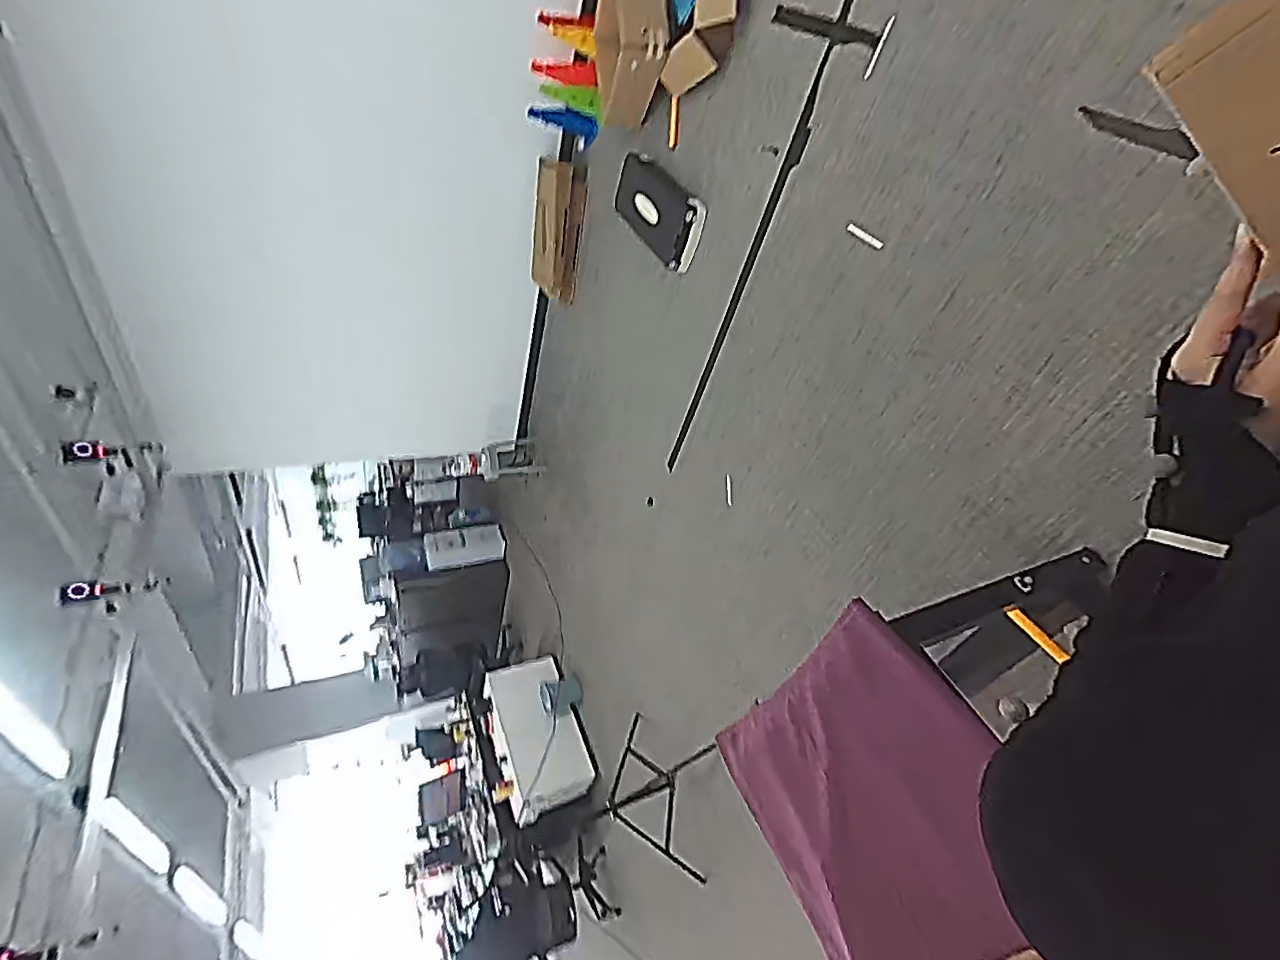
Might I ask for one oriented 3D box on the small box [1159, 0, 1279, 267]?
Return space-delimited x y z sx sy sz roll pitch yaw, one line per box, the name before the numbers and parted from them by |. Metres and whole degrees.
small box | 0.428 -0.235 0.281 0.168 0.176 0.179 57 146 -1
